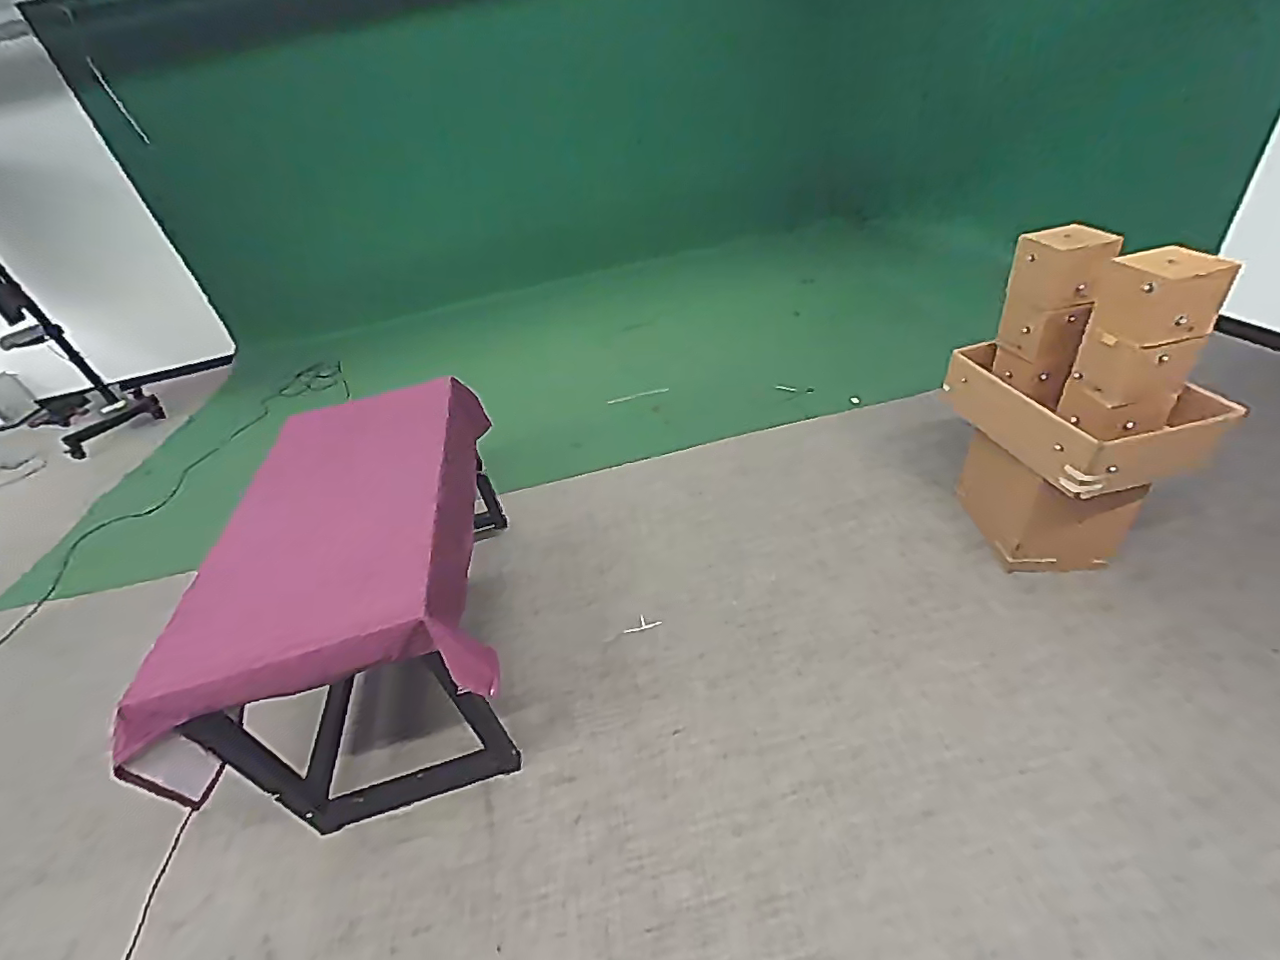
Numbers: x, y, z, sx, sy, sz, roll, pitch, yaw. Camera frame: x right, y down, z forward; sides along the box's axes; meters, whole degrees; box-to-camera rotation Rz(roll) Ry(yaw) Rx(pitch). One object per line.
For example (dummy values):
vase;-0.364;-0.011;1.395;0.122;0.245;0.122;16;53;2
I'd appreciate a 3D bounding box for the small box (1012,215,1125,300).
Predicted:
small box;1.199;-0.629;1.533;0.168;0.176;0.179;-12;38;3

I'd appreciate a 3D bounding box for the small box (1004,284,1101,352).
small box;1.237;-0.502;1.632;0.179;0.176;0.168;-13;38;-1

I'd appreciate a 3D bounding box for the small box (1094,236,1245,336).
small box;1.263;-0.469;1.309;0.168;0.176;0.179;-13;37;1

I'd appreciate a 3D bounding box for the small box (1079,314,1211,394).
small box;1.291;-0.339;1.403;0.179;0.176;0.168;-12;37;1
